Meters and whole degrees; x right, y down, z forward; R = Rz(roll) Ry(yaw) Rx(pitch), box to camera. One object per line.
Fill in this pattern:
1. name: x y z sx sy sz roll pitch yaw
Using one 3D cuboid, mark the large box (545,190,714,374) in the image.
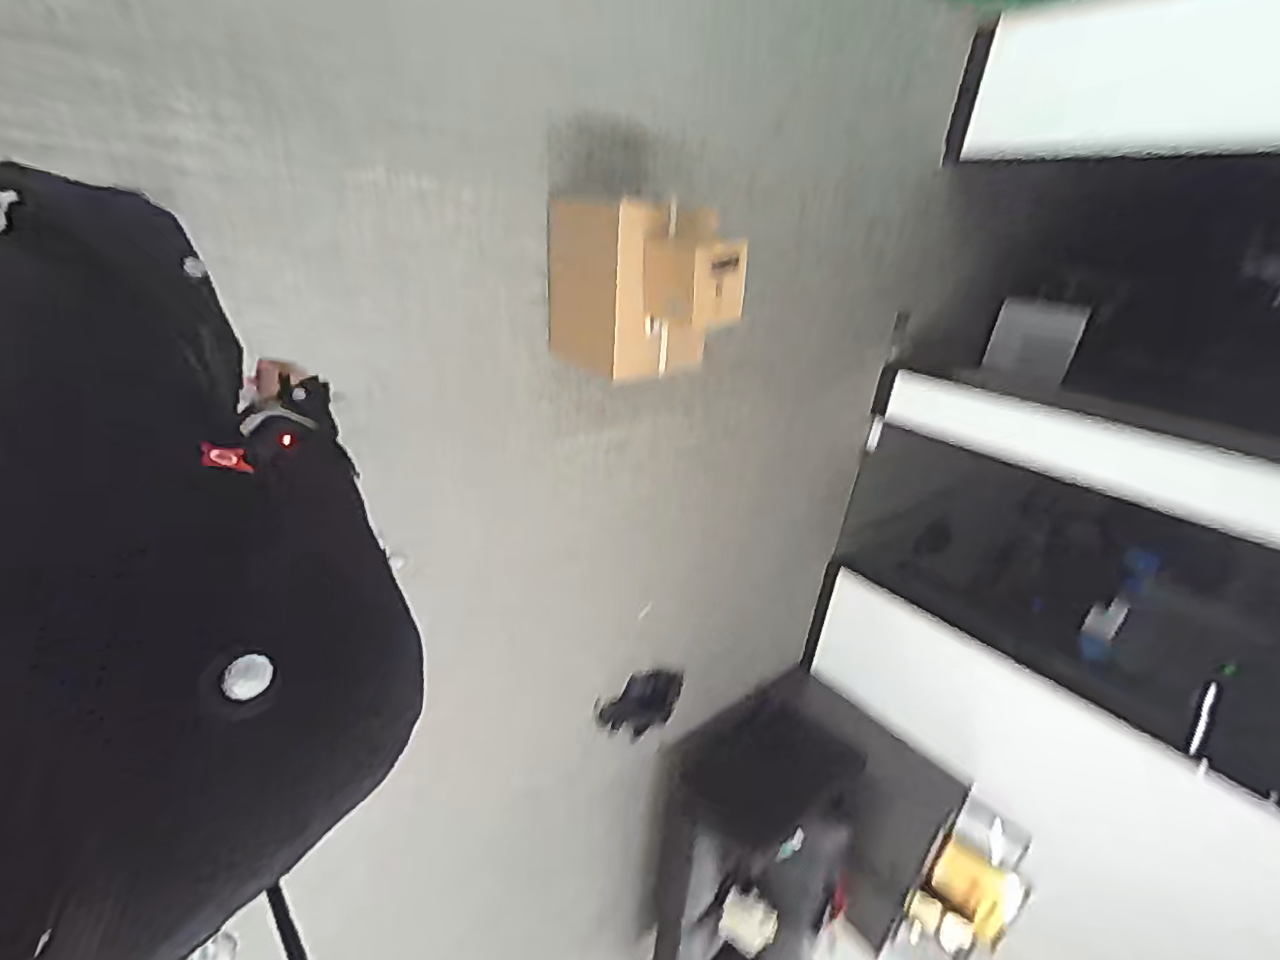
1. large box: -0.040 -0.534 1.432 0.320 0.320 0.408 -17 125 -35
